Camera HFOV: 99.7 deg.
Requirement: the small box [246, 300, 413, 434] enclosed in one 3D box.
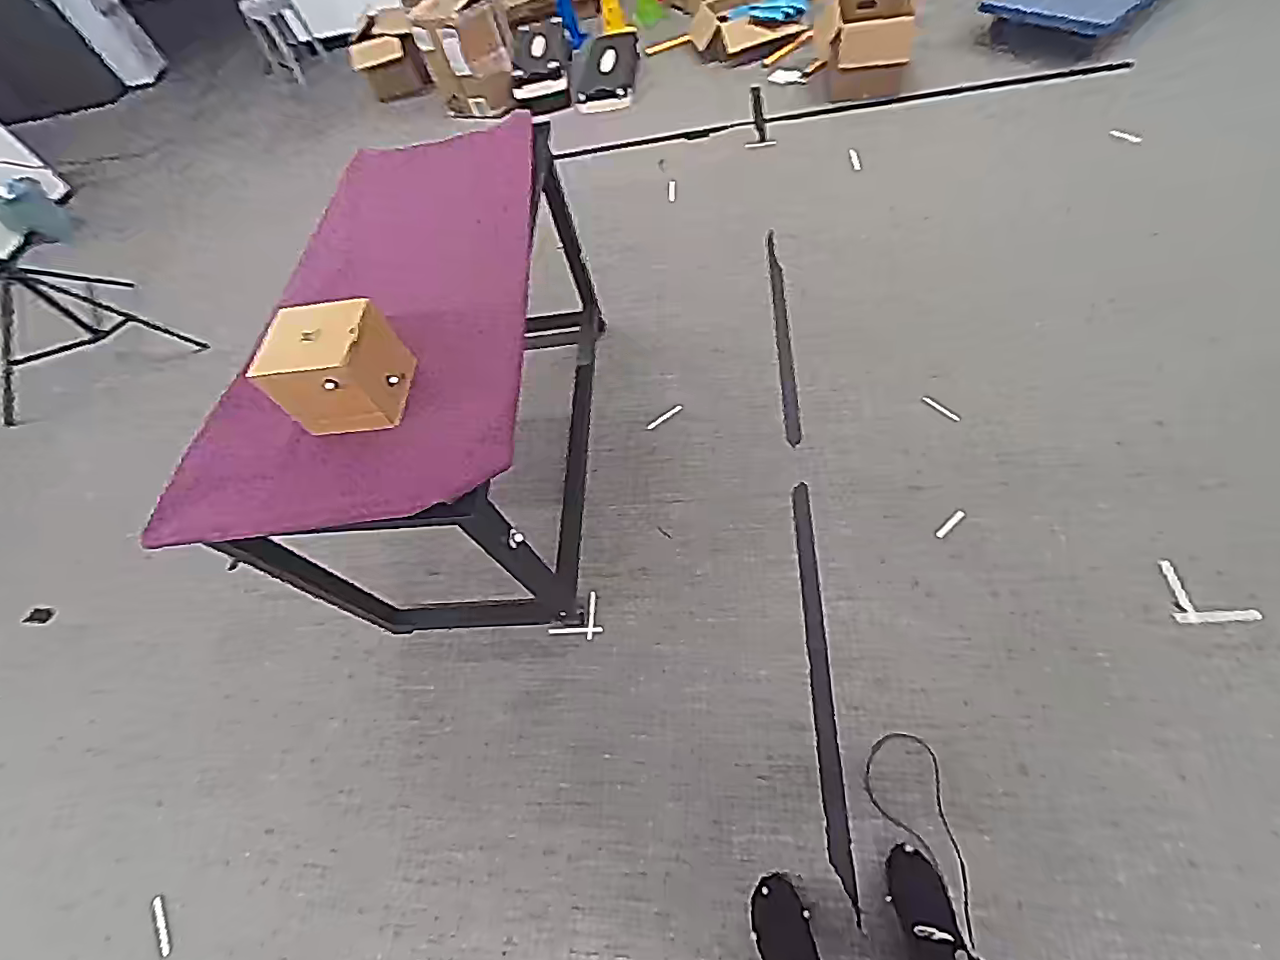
[{"bbox_3d":[-0.551,-0.198,0.985,0.179,0.176,0.168,-5,58,7],"label":"small box"}]
